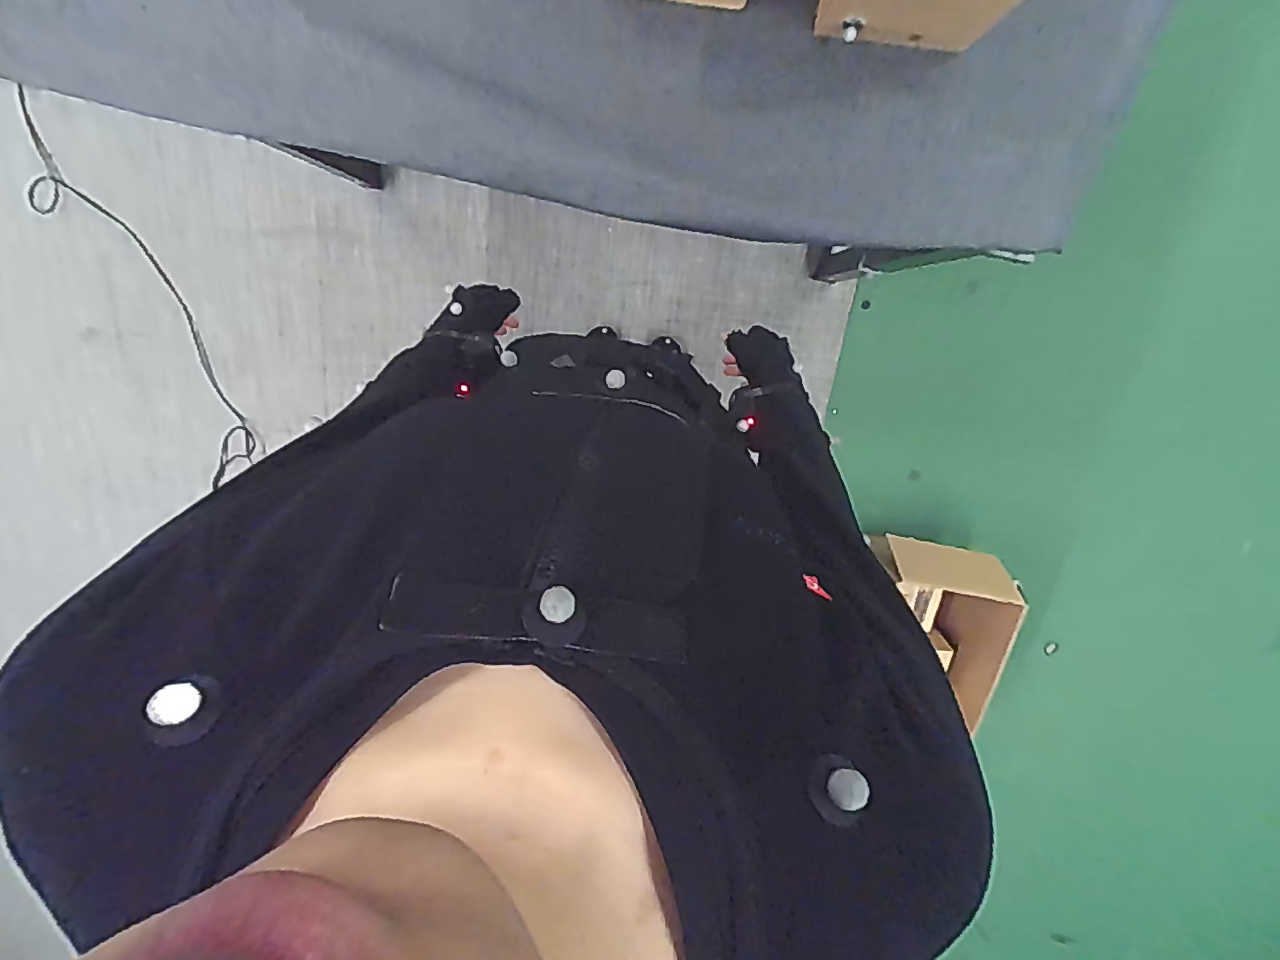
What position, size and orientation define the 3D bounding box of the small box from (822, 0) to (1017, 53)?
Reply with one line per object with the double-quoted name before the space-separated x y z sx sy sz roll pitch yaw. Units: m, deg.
"small box" 0.276 -0.523 0.481 0.168 0.176 0.179 7 106 -1
